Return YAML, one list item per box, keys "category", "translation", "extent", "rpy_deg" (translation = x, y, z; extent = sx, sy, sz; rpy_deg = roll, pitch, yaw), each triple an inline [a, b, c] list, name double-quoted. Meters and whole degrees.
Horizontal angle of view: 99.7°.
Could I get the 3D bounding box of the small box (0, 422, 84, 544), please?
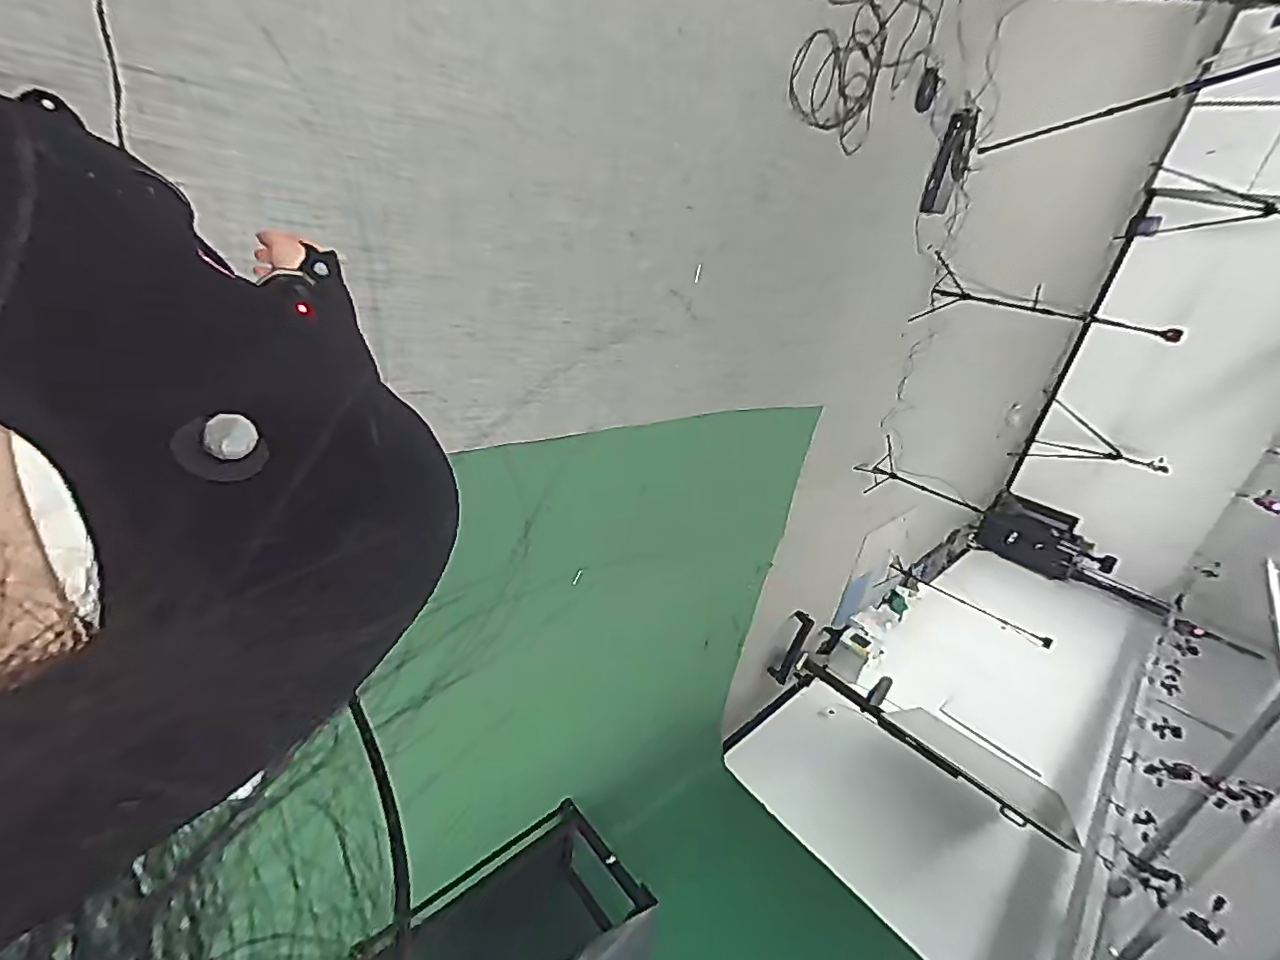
- category: "small box"
  translation: [-1.127, 0.003, 0.960]
  extent: [0.179, 0.176, 0.168]
  rpy_deg: [-12, 122, -43]
